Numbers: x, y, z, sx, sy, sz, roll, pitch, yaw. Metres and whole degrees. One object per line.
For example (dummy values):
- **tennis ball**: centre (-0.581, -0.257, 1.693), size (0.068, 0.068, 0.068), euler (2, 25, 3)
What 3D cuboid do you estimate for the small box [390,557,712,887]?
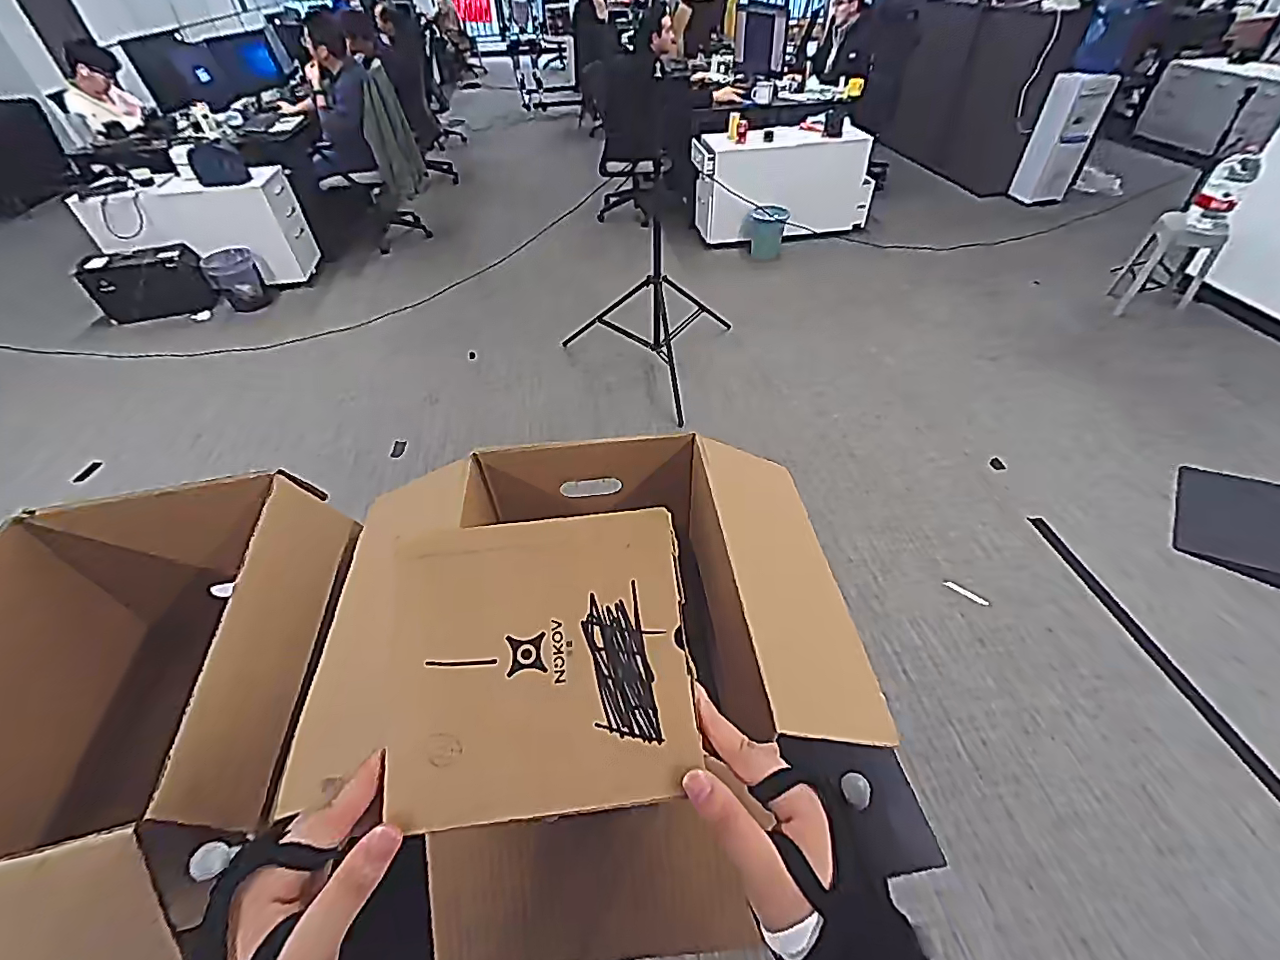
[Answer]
- **small box**: centre (-0.057, 0.160, 0.392), size (0.179, 0.176, 0.168), euler (-6, 69, -4)
